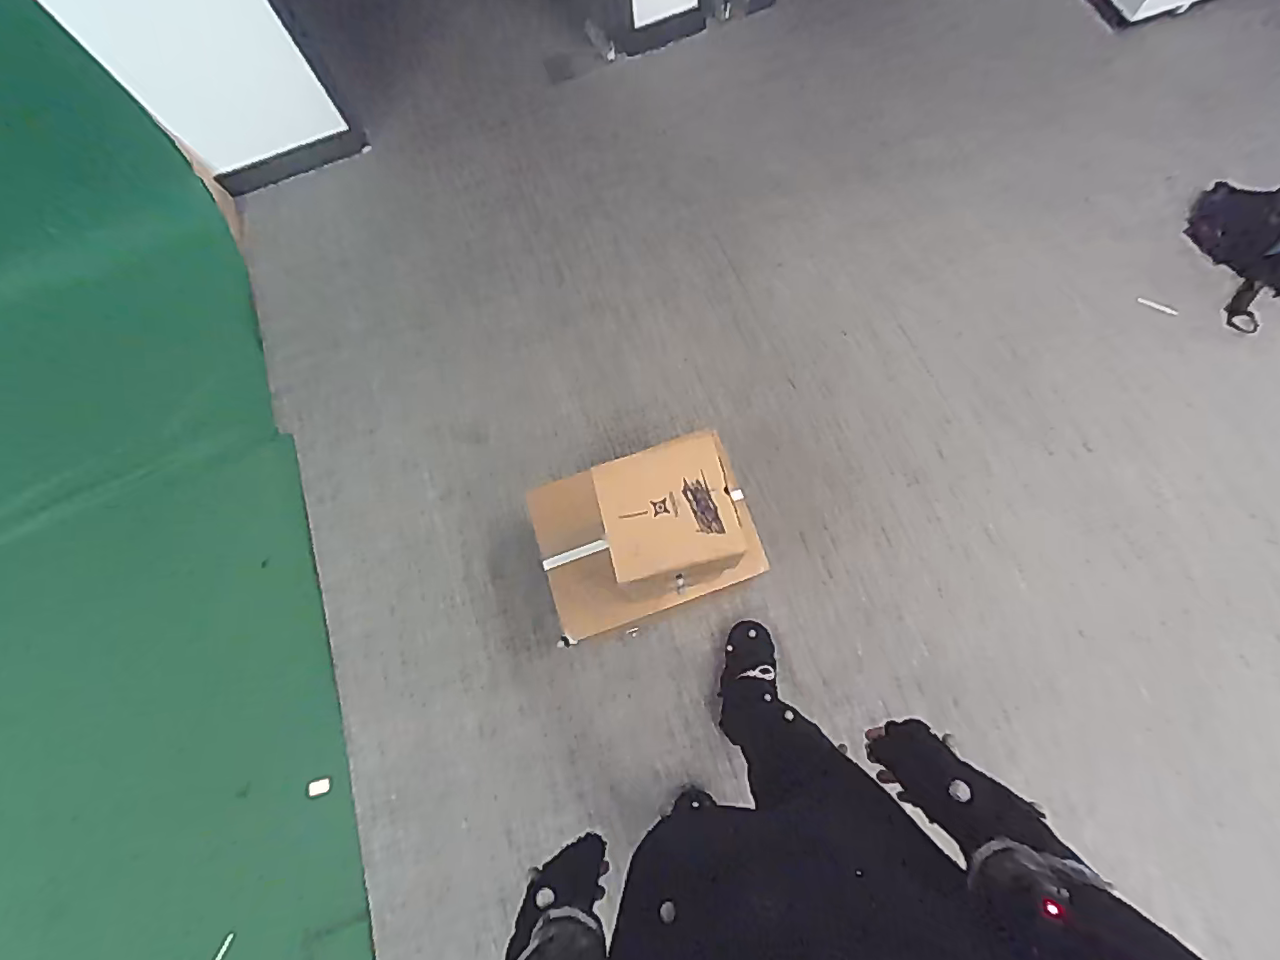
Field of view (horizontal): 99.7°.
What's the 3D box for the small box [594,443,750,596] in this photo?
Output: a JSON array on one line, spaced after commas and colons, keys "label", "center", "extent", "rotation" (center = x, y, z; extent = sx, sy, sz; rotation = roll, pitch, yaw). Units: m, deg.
[{"label": "small box", "center": [0.044, 0.066, 0.790], "extent": [0.179, 0.176, 0.168], "rotation": [-15, 73, 1]}]
